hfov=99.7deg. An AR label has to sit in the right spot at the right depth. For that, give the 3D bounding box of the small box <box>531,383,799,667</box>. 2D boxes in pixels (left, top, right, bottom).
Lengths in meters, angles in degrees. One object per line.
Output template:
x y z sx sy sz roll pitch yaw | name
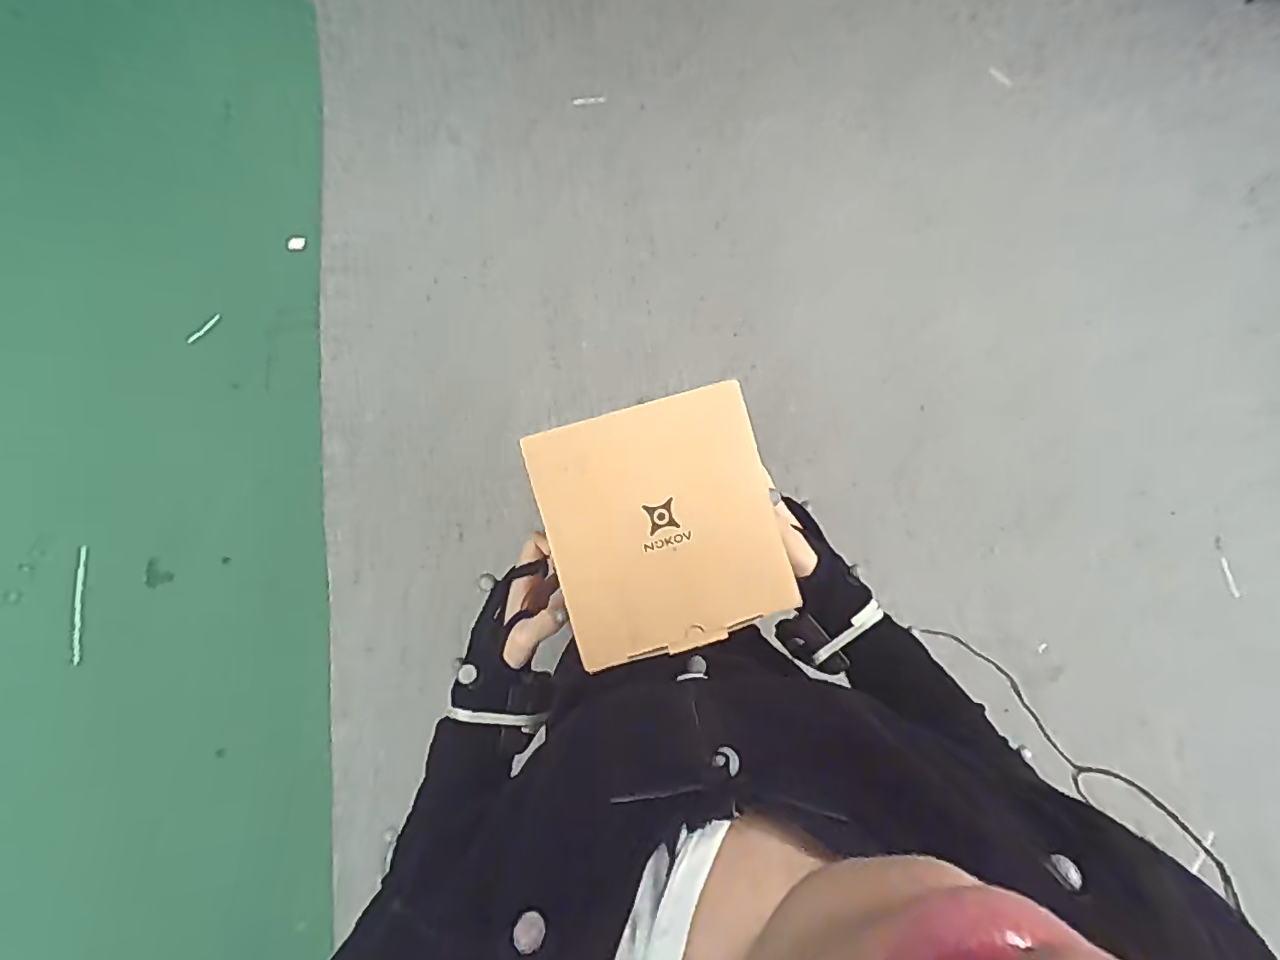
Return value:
0.012 0.032 0.473 0.168 0.176 0.179 -16 92 -5 | small box
